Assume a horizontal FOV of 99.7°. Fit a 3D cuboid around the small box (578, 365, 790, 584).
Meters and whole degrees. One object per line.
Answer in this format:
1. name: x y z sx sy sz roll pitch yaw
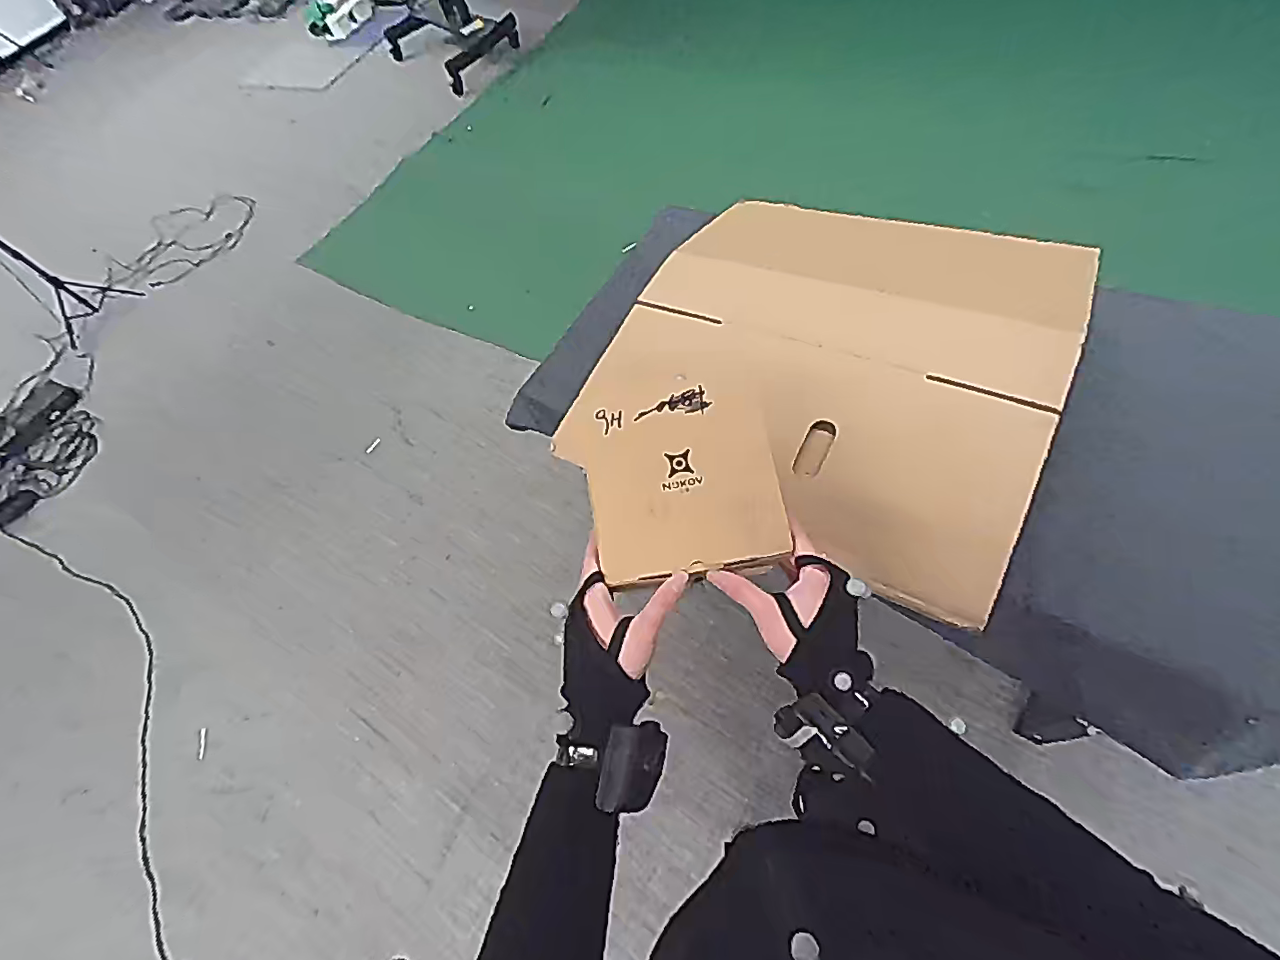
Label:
1. small box: 0.045 0.009 0.566 0.168 0.176 0.179 -13 75 3
